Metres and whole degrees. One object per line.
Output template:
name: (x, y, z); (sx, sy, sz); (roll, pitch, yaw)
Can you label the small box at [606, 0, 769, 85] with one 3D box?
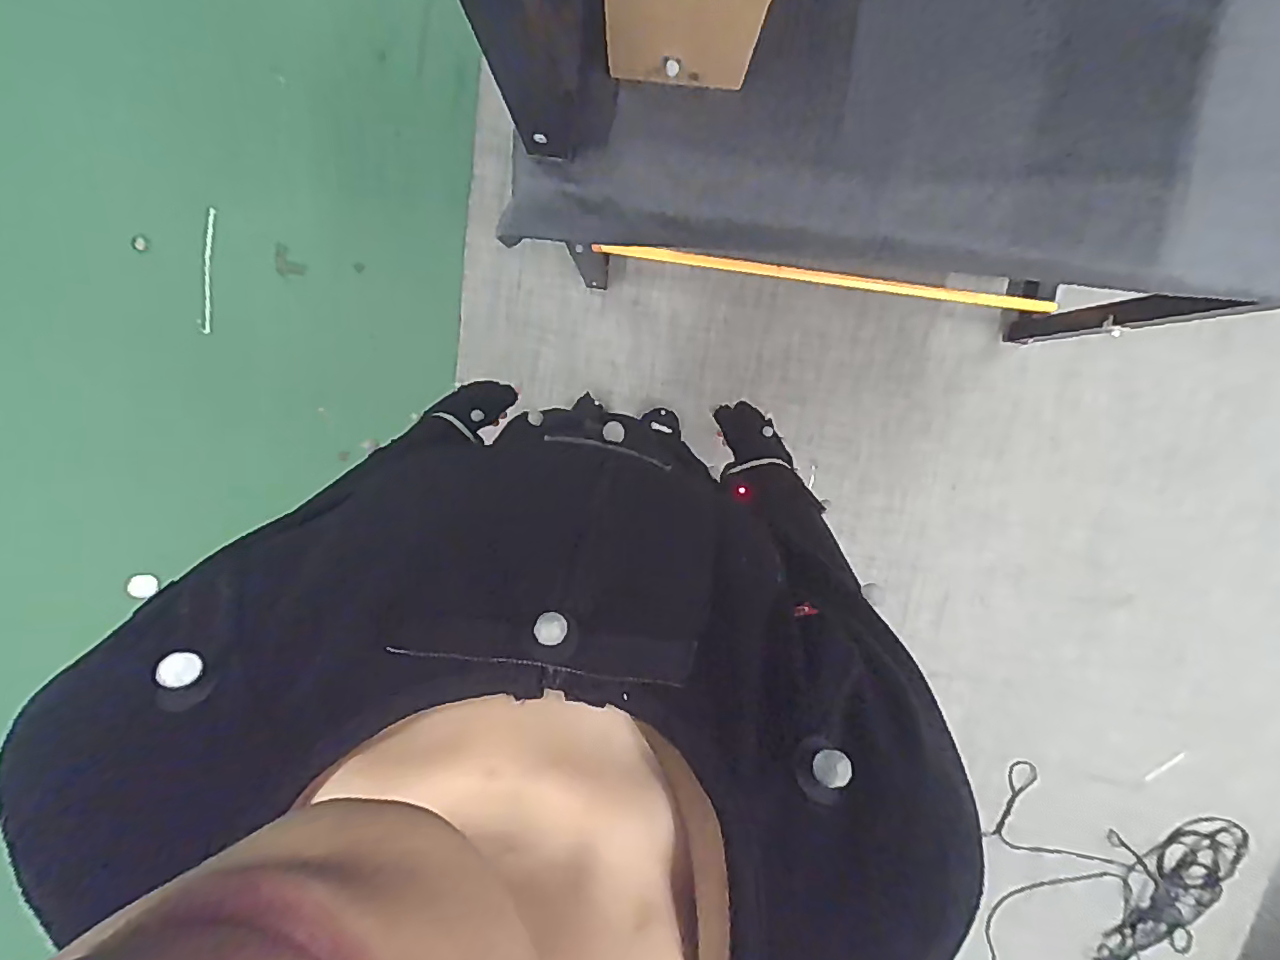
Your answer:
small box: (0.052, -0.569, 0.574); (0.168, 0.176, 0.179); (5, 99, -1)
